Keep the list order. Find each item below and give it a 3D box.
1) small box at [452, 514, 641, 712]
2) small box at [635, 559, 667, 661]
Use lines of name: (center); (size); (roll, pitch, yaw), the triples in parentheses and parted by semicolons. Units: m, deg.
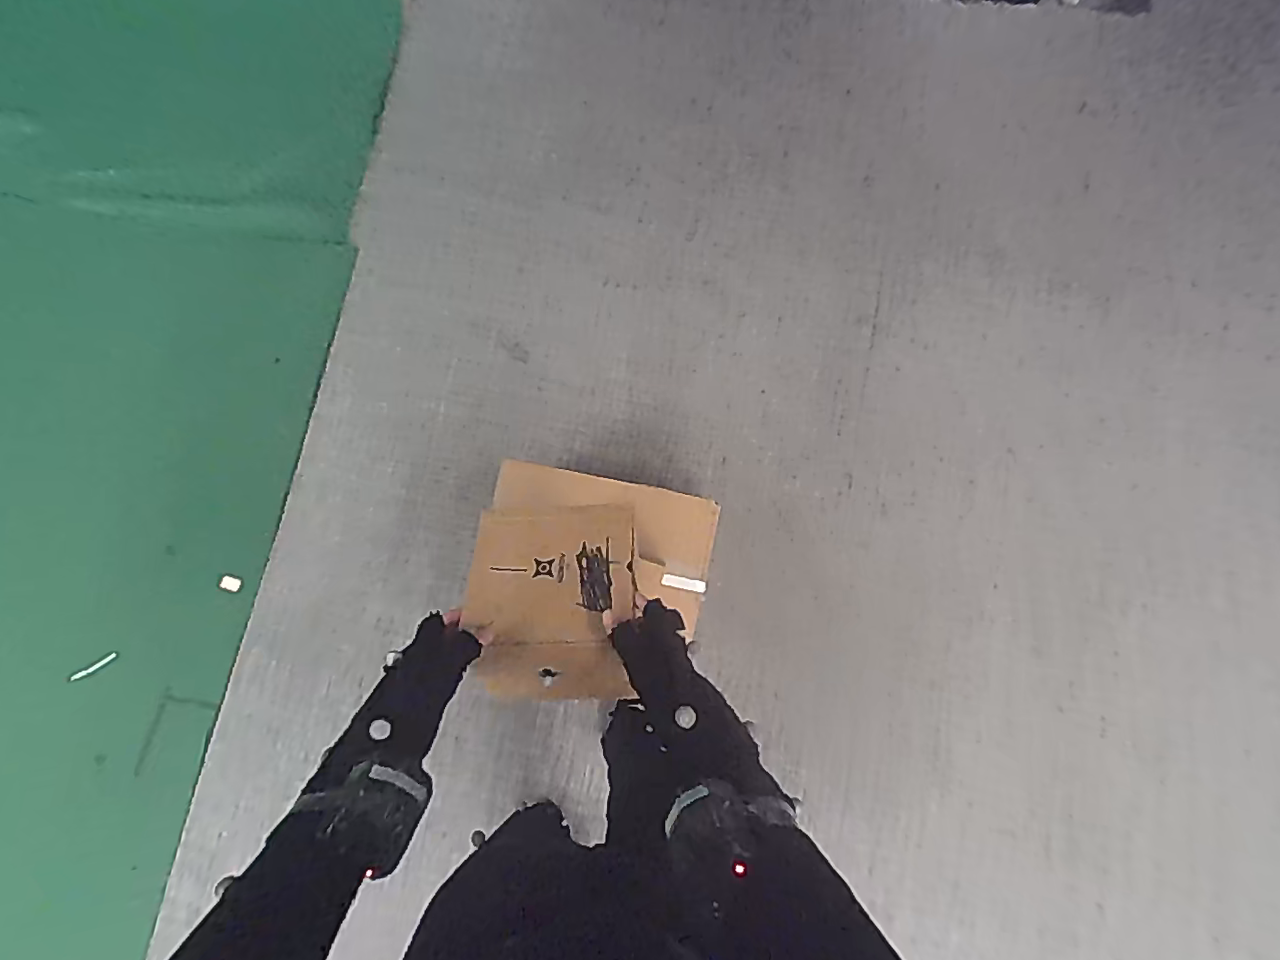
small box: (-0.089, 0.157, 0.623); (0.179, 0.176, 0.168); (-4, 50, 2)
small box: (-0.062, 0.199, 0.868); (0.179, 0.176, 0.168); (17, 85, 5)
